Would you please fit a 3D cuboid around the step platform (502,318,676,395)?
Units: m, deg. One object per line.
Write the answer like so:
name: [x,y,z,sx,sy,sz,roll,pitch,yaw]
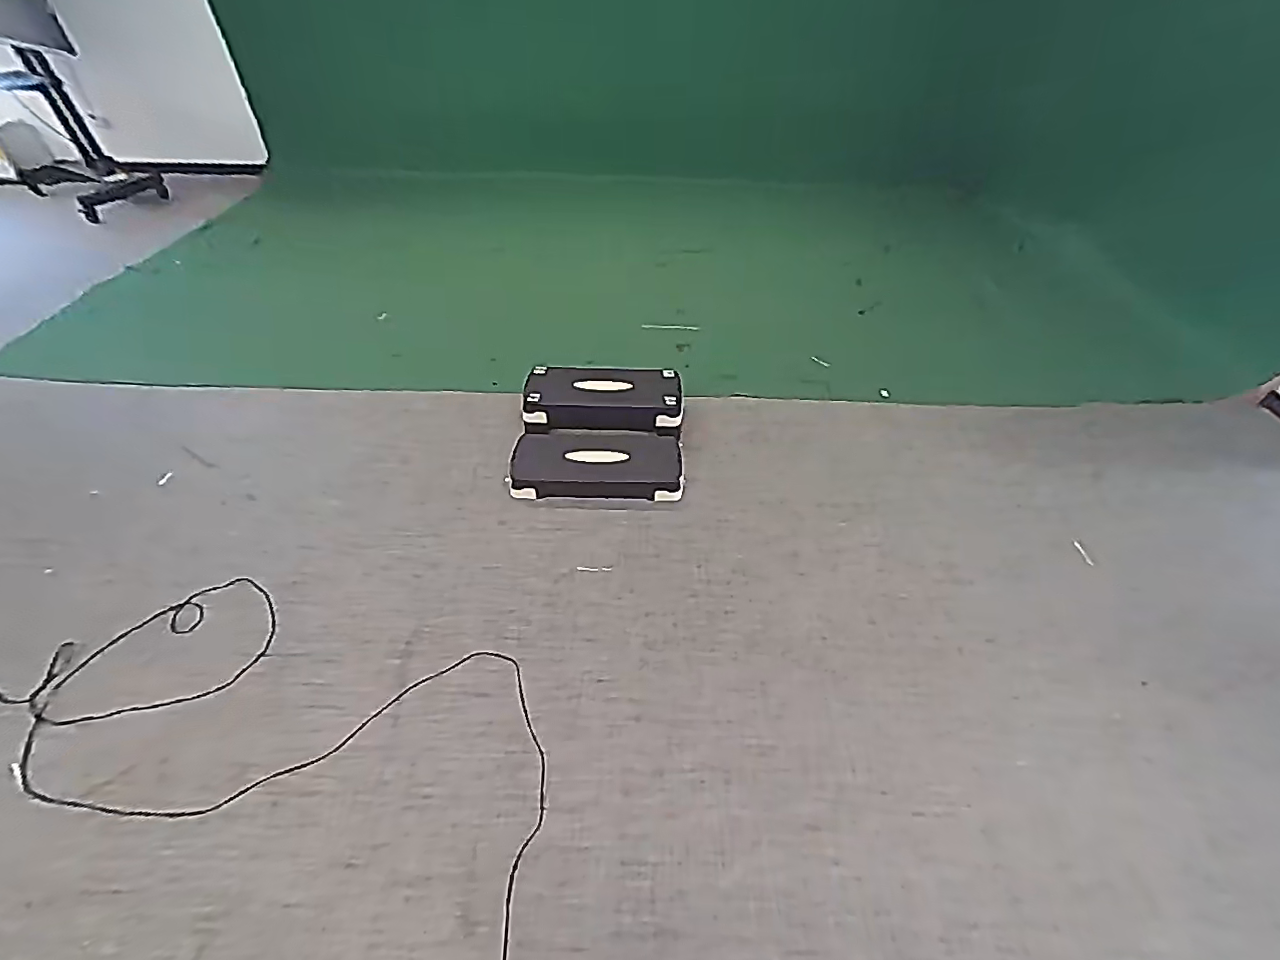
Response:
step platform: [-0.199,-0.502,2.212,0.684,0.204,0.286,1,45,0]
